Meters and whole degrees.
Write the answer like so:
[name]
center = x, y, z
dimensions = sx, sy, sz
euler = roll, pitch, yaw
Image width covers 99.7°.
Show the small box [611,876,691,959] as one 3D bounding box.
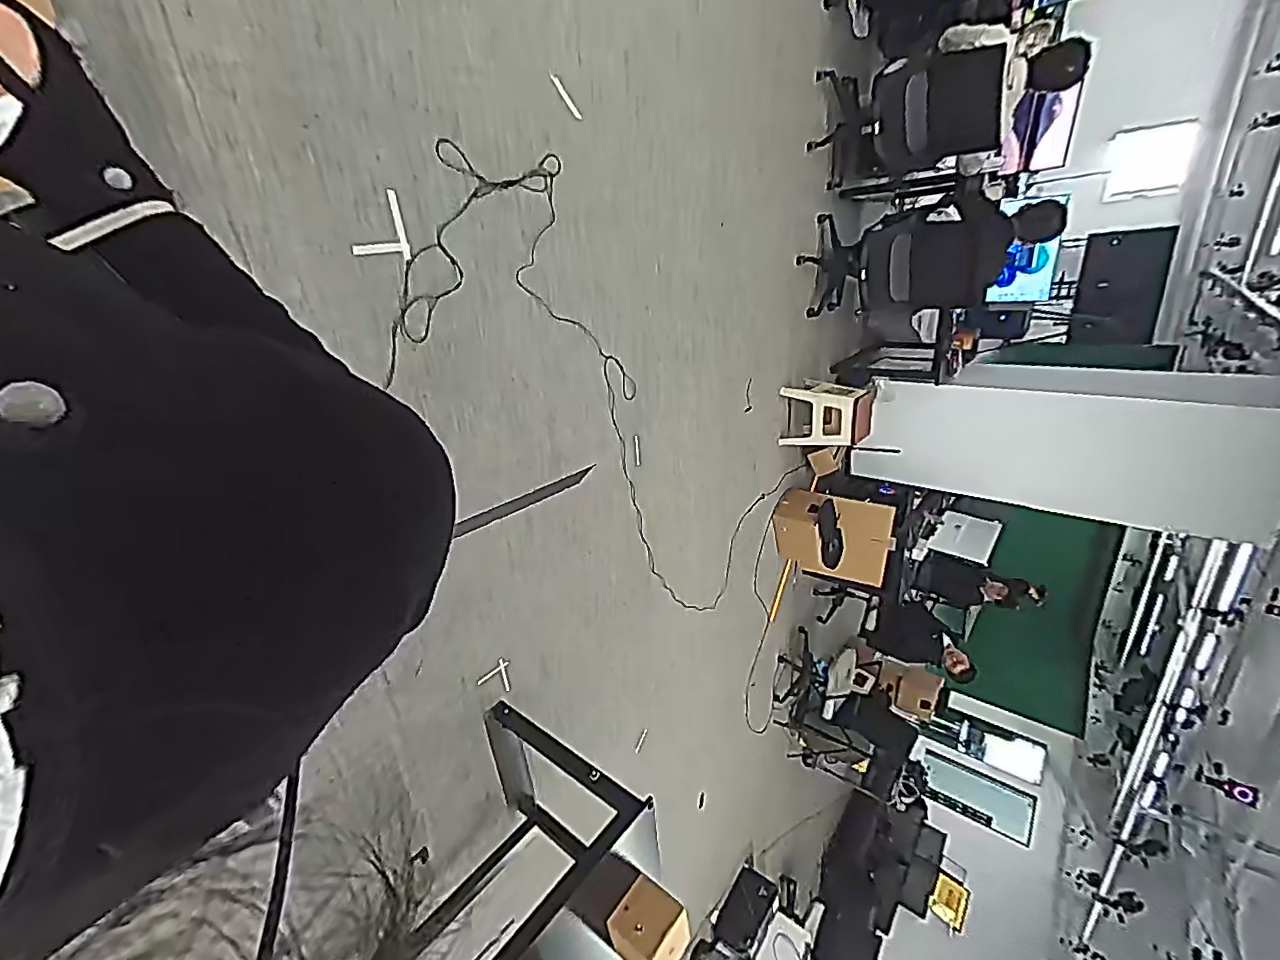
[small box]
center = 0.031, 1.326, 1.598
dimensions = 0.168, 0.176, 0.179
euler = -32, 125, -40
